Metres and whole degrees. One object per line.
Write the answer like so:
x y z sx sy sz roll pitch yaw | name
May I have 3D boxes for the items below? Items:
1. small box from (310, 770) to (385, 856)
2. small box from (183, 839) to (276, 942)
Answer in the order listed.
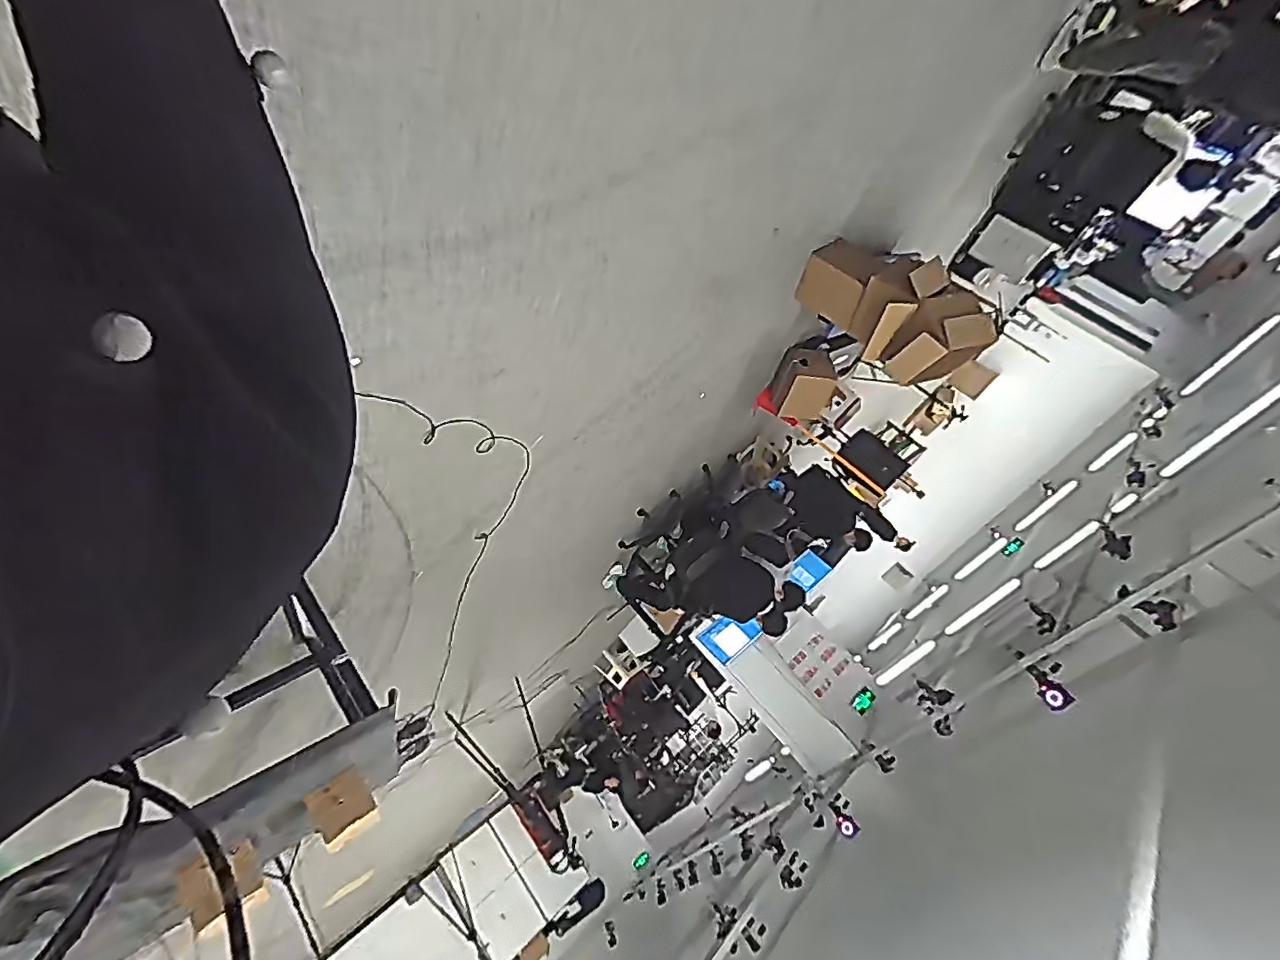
-0.986 1.117 1.824 0.168 0.176 0.179 -26 150 -38 | small box
-1.212 1.209 1.600 0.168 0.176 0.179 -24 150 -40 | small box
